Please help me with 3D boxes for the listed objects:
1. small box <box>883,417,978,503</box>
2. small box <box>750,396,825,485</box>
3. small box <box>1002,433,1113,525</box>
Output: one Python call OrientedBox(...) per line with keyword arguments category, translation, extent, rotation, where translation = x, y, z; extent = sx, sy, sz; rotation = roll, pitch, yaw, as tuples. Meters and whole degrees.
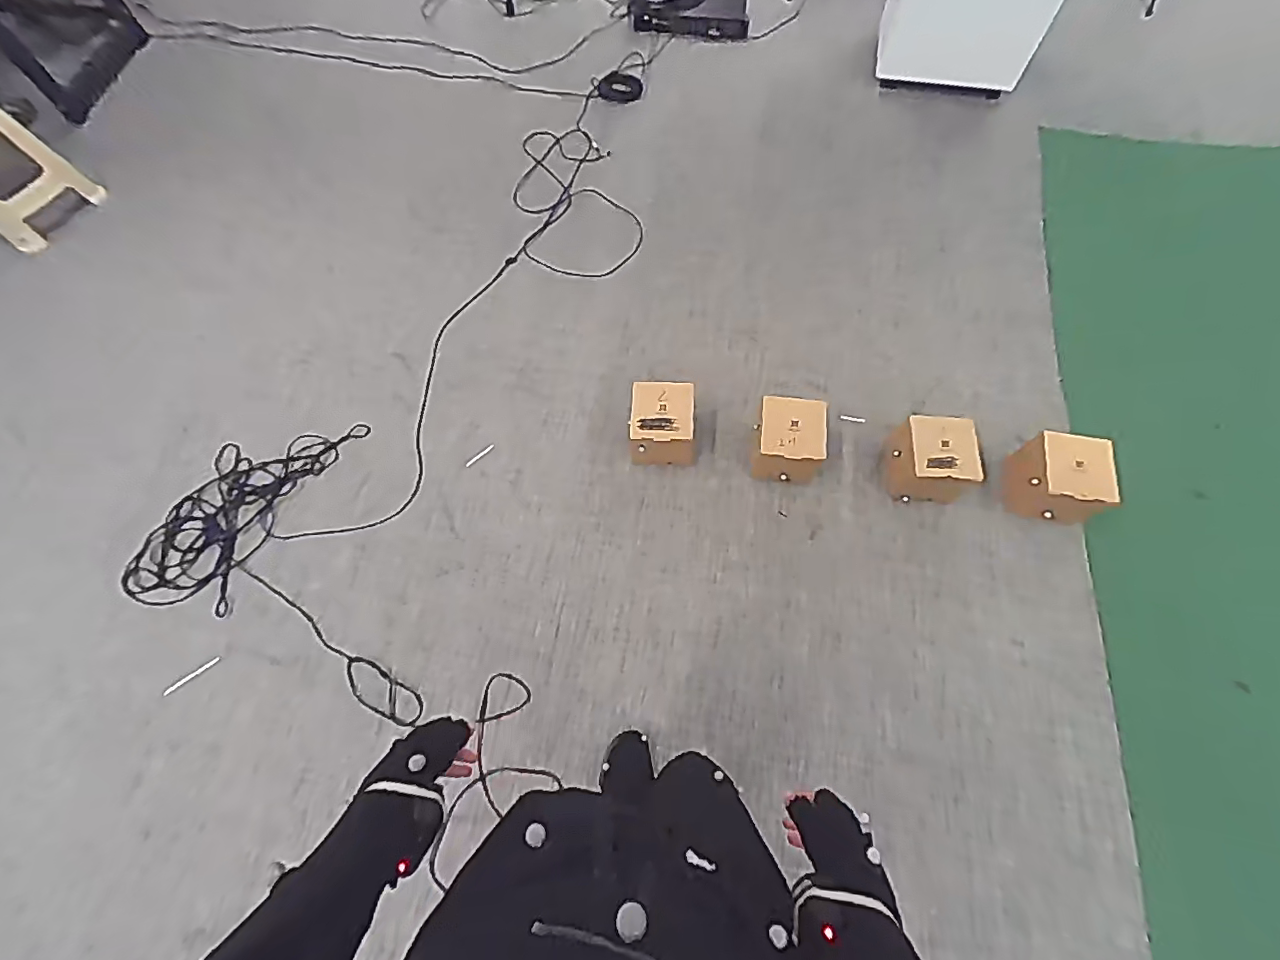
OrientedBox(category="small box", translation=(0.769, -0.049, 1.450), extent=(0.168, 0.176, 0.179), rotation=(5, 67, 3))
OrientedBox(category="small box", translation=(0.399, -0.105, 1.478), extent=(0.168, 0.176, 0.179), rotation=(7, 68, 5))
OrientedBox(category="small box", translation=(1.088, 0.001, 1.425), extent=(0.168, 0.176, 0.179), rotation=(9, 68, 6))
